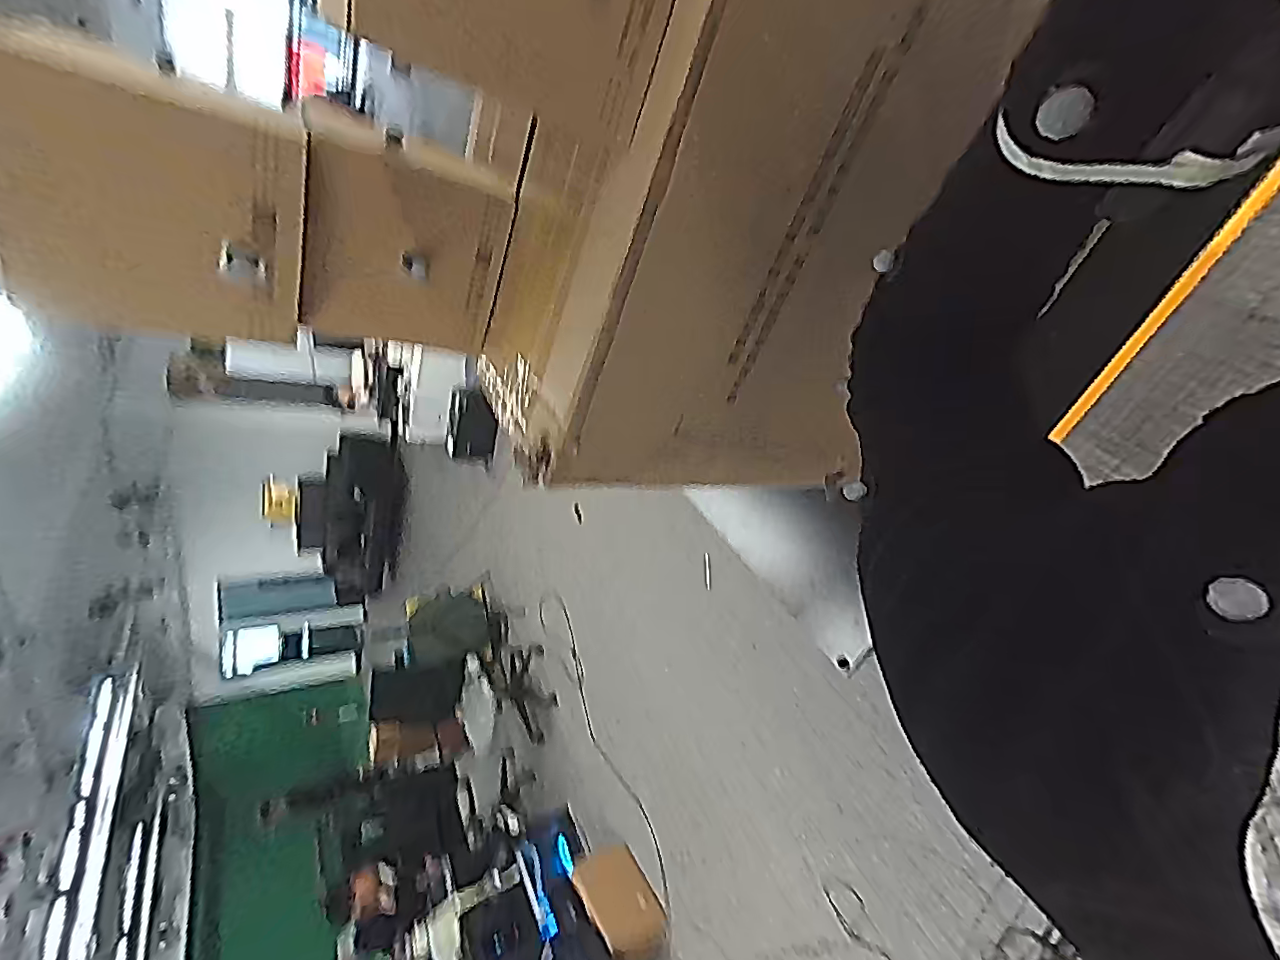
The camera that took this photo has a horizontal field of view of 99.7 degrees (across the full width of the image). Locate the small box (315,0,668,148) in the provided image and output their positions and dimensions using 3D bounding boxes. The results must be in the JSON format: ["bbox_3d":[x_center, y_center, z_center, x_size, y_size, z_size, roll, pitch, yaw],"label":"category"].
[{"bbox_3d":[-0.089,-0.328,0.325,0.179,0.176,0.168,54,133,39],"label":"small box"}]

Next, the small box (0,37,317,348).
[{"bbox_3d":[-0.365,-0.217,0.431,0.179,0.176,0.168,49,129,43],"label":"small box"}]

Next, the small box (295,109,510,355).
[{"bbox_3d":[-0.246,-0.239,0.546,0.179,0.176,0.168,52,129,41],"label":"small box"}]
